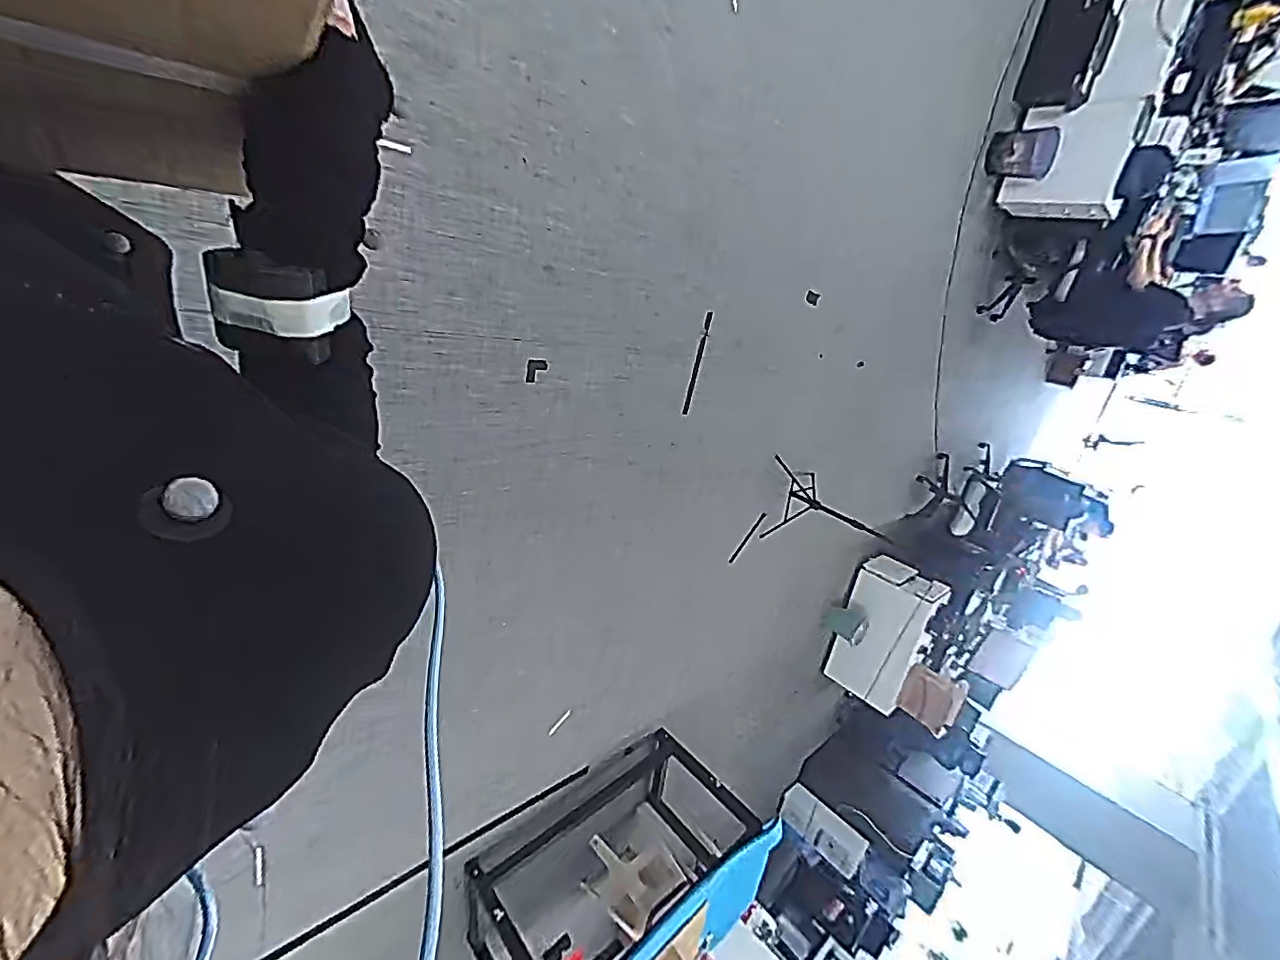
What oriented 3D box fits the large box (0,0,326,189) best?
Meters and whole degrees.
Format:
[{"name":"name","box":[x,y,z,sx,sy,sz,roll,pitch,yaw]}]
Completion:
[{"name":"large box","box":[-0.350,-0.321,0.137,0.408,0.320,0.320,-14,103,-41]}]
